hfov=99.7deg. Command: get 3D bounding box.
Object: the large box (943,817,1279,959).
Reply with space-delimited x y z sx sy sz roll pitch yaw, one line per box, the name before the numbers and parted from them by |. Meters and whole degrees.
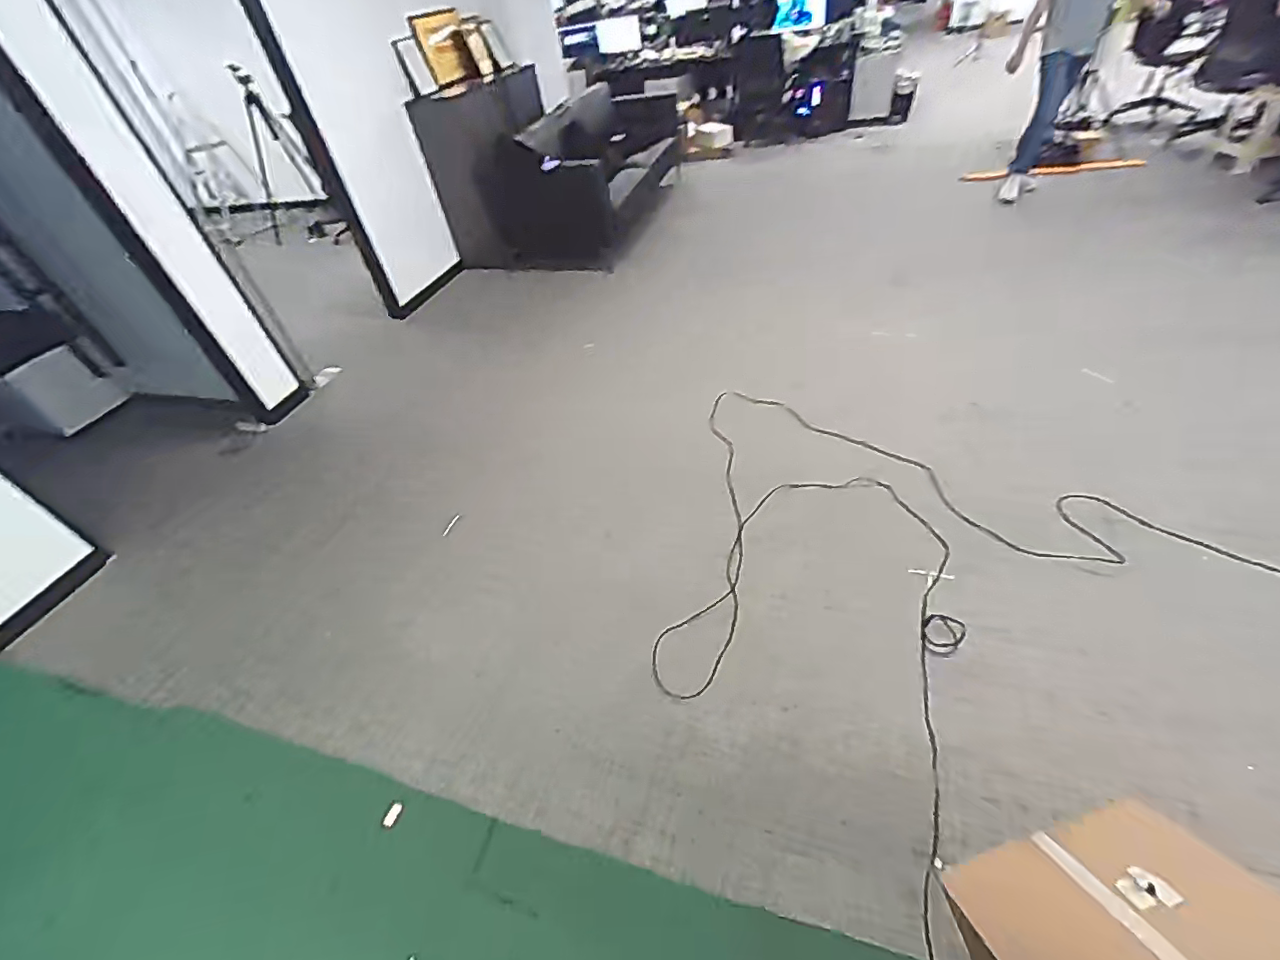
large box | 0.637 0.682 0.590 0.320 0.320 0.408 -22 -2 2
